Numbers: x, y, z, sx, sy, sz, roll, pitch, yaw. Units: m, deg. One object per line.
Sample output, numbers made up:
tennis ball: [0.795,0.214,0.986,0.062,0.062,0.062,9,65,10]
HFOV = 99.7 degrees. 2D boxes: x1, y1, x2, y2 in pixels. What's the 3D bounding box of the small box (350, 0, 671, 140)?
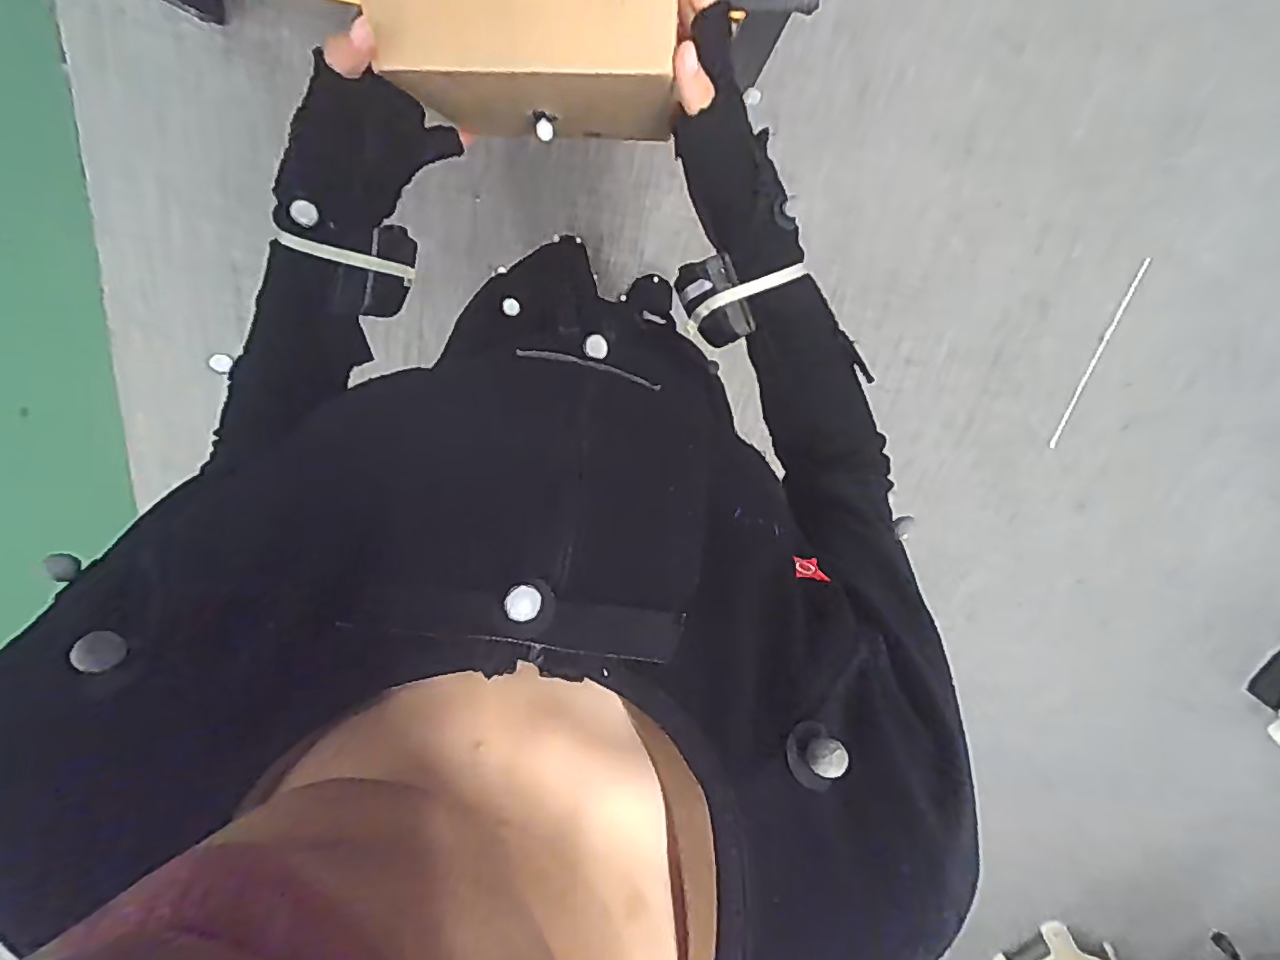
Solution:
small box: [-0.064,-0.326,0.334,0.168,0.176,0.179,2,111,2]
